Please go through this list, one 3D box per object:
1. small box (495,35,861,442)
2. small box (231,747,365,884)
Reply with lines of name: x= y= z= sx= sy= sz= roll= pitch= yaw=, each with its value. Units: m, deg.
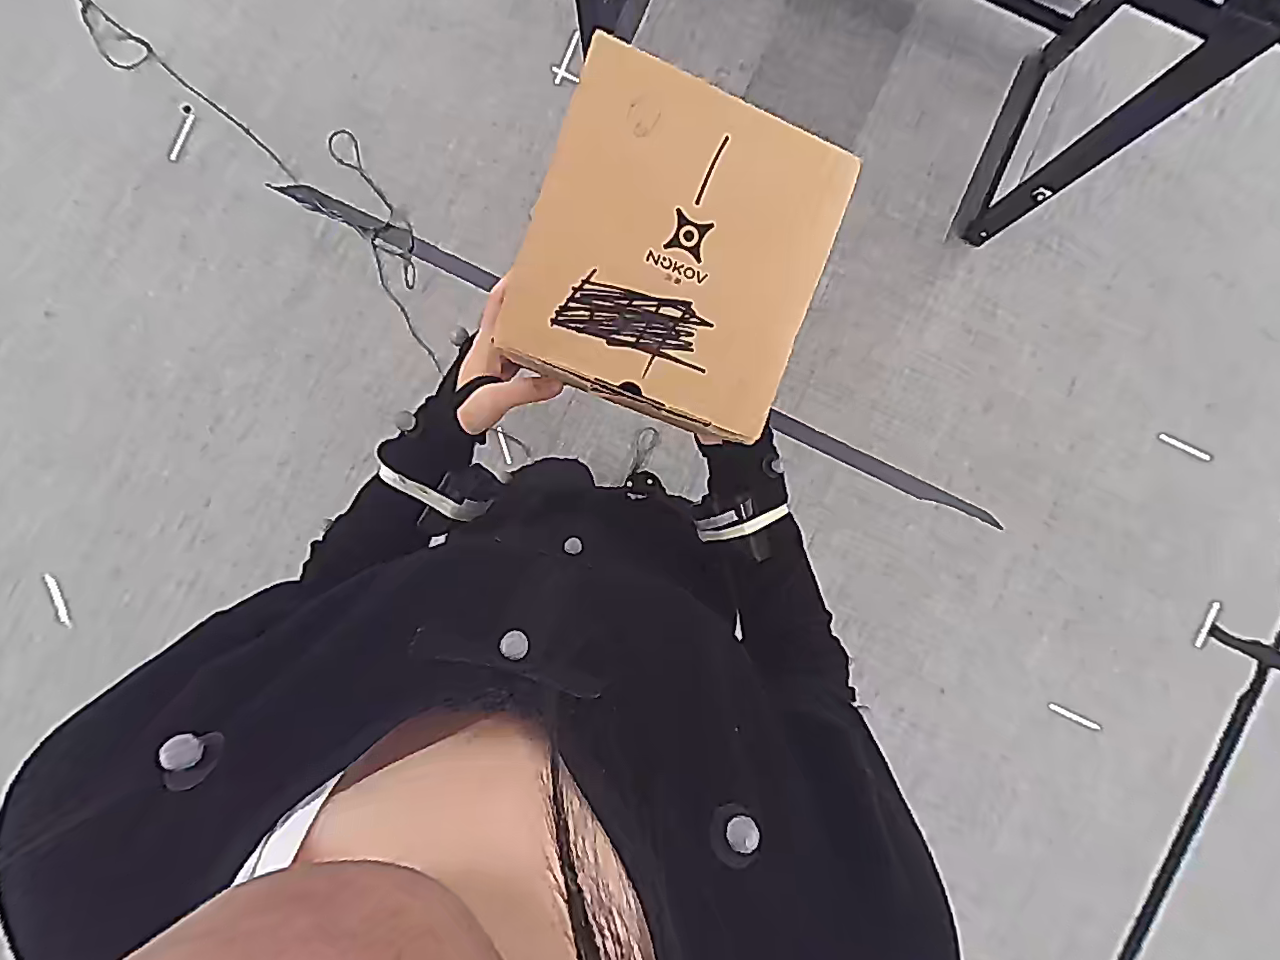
small box: x=0.014 y=-0.139 z=0.383 sx=0.168 sy=0.176 sz=0.179 roll=20 pitch=94 yaw=-10
small box: x=-0.777 y=0.765 z=1.251 sx=0.168 sy=0.176 sz=0.179 roll=27 pitch=89 yaw=-1
